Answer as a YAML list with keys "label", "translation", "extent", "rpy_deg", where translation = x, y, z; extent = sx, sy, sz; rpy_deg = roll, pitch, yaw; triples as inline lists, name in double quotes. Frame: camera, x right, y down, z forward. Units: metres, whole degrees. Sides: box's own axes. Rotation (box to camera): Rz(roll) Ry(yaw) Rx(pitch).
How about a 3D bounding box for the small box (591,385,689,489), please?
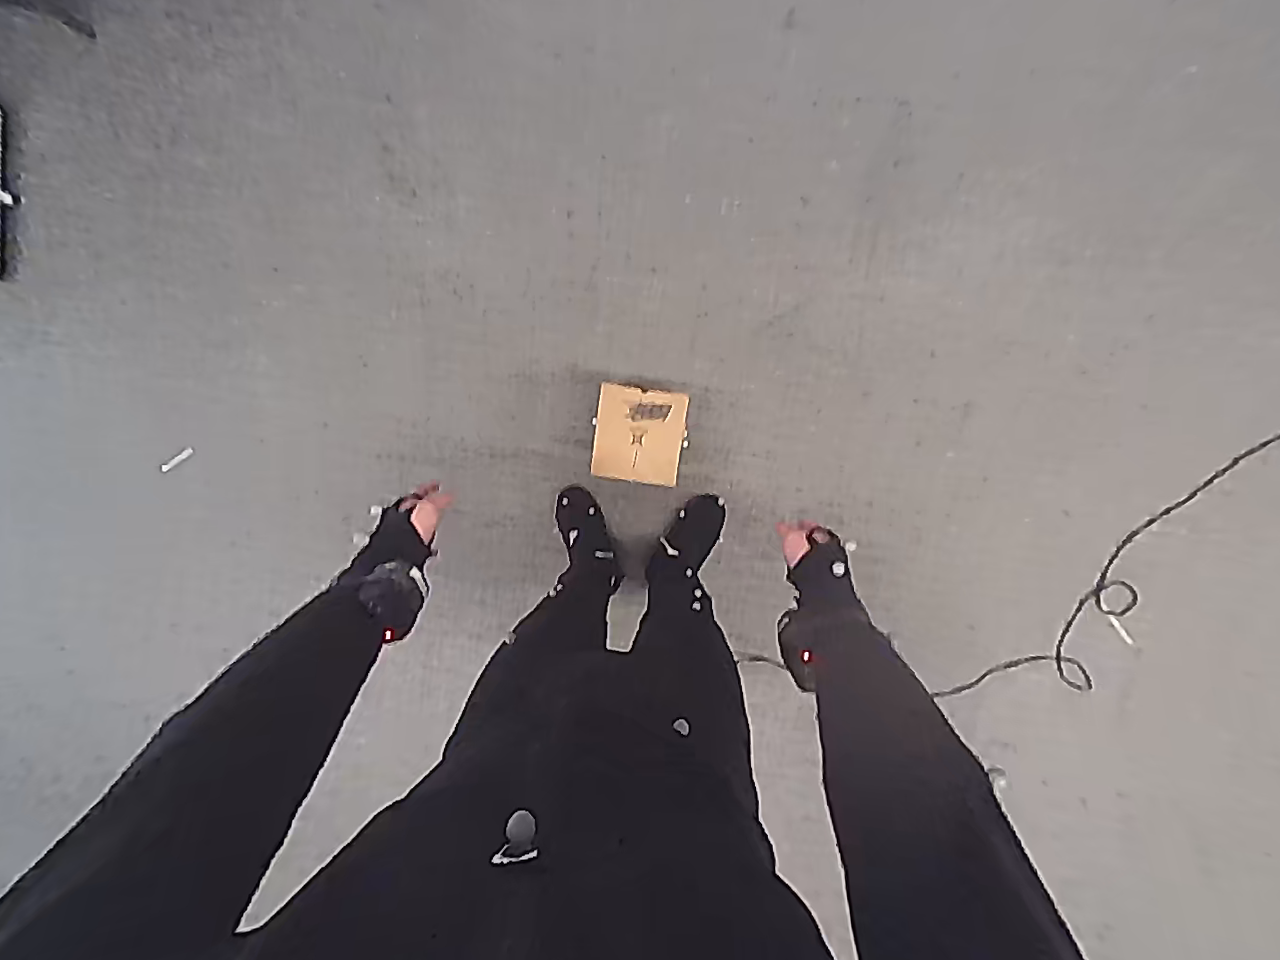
- label: "small box"
  translation: [0.002, -0.090, 1.093]
  extent: [0.168, 0.176, 0.179]
  rpy_deg: [8, 98, 2]
